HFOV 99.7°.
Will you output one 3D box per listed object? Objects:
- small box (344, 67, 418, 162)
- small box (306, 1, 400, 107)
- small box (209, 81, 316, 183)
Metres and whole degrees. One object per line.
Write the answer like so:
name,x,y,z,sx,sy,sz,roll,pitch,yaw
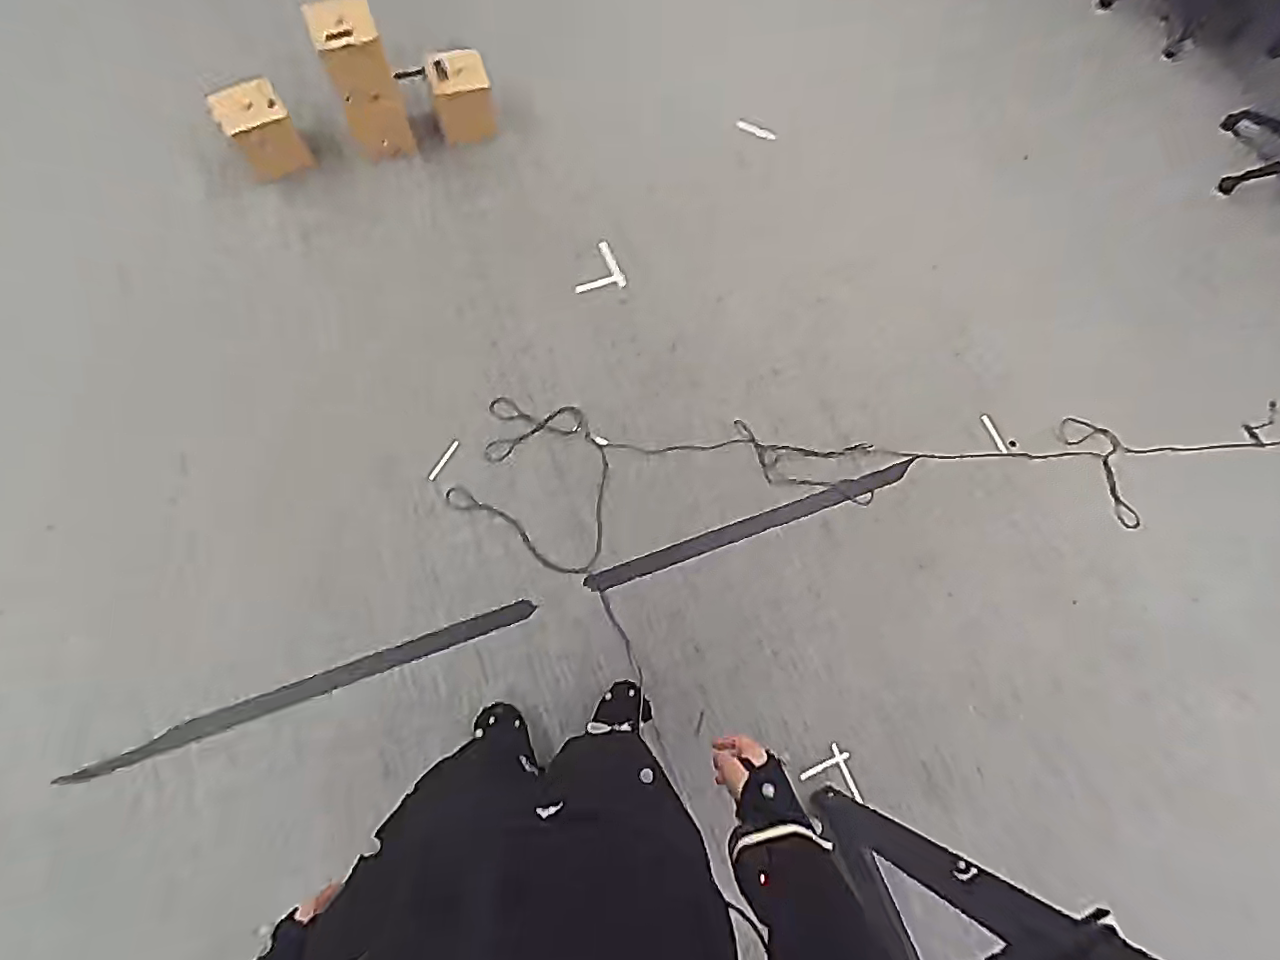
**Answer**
small box,-0.810,-1.132,1.677,0.168,0.176,0.179,-17,75,-10
small box,-0.800,-1.190,1.524,0.168,0.176,0.179,-20,74,-12
small box,-1.118,-1.032,1.615,0.179,0.176,0.168,-32,78,-13
